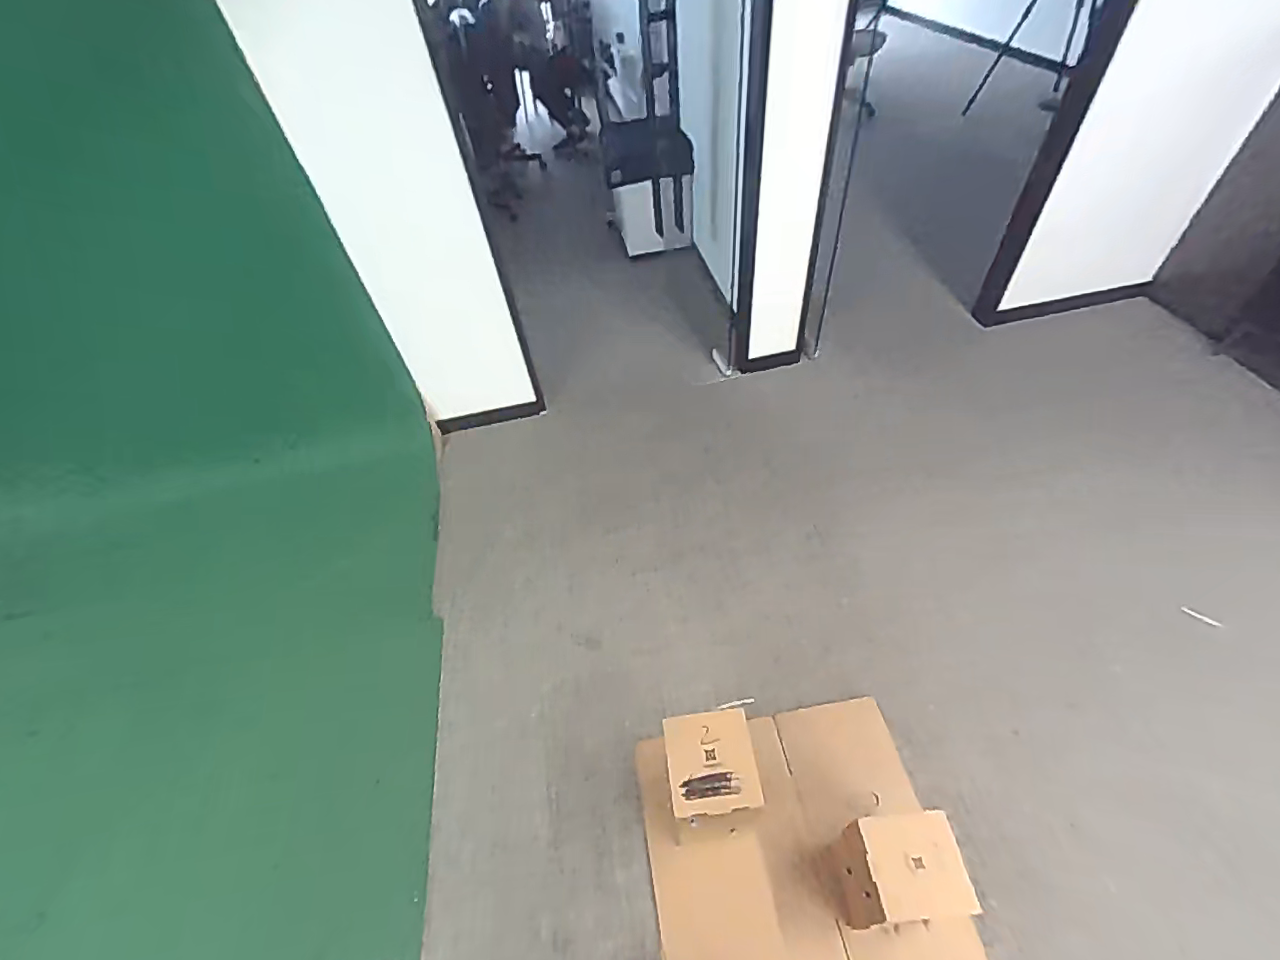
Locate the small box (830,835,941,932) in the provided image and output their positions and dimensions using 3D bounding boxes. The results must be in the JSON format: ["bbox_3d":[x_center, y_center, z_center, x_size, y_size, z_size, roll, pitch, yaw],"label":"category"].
[{"bbox_3d":[0.545,0.890,1.203,0.179,0.176,0.168,-8,49,0],"label":"small box"}]

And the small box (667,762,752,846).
[{"bbox_3d":[0.166,0.787,1.334,0.179,0.176,0.168,-9,49,-1],"label":"small box"}]

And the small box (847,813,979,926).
[{"bbox_3d":[0.528,0.782,1.082,0.179,0.176,0.168,-6,50,2],"label":"small box"}]

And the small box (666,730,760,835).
[{"bbox_3d":[0.158,0.681,1.212,0.179,0.176,0.168,-9,50,-1],"label":"small box"}]
